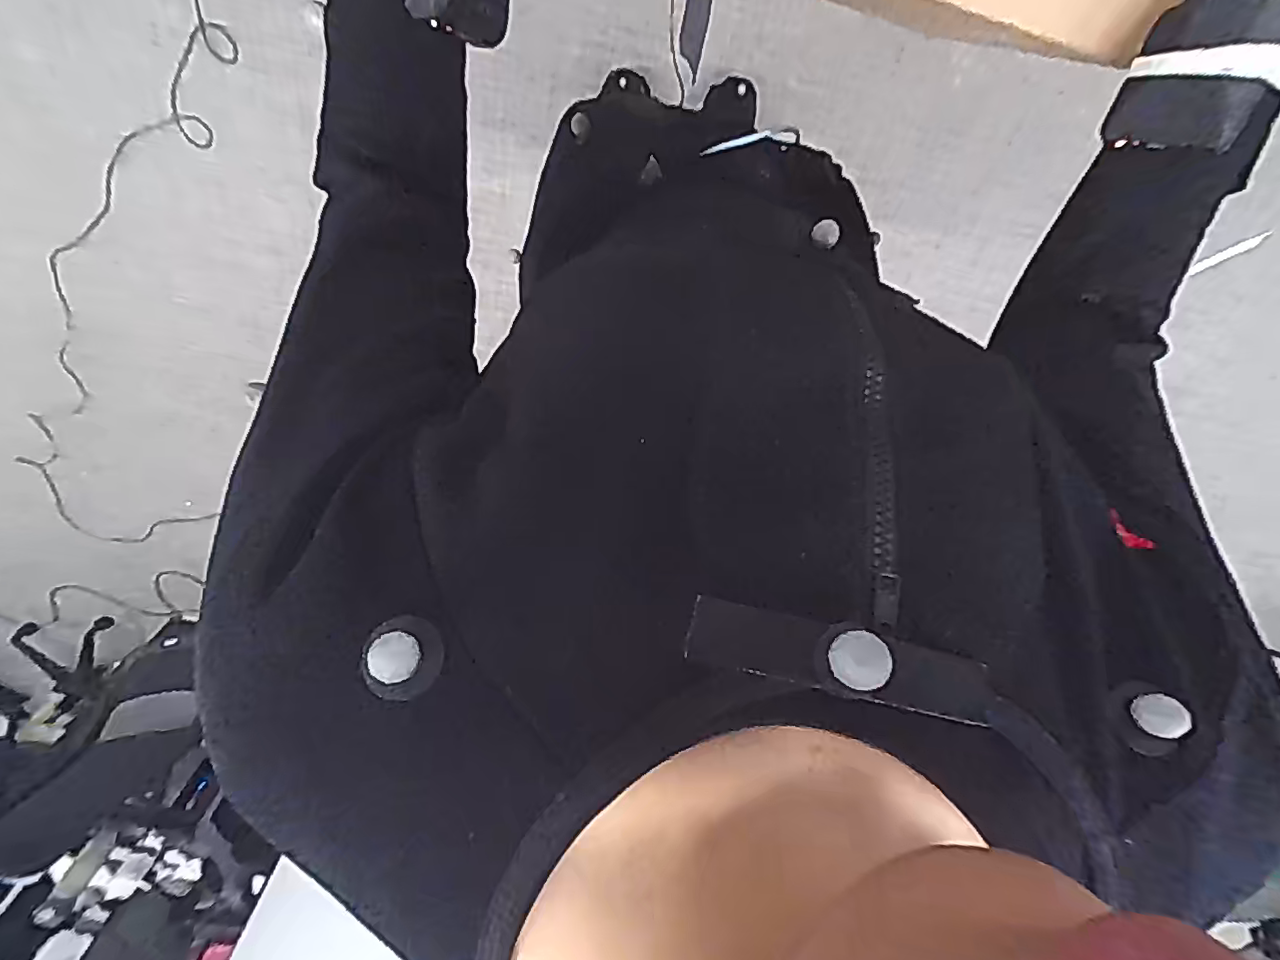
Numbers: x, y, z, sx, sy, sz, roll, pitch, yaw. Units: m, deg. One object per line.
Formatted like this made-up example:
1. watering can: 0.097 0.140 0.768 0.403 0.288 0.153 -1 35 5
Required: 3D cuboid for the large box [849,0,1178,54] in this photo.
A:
1. large box: 0.143 -0.498 0.307 0.408 0.320 0.320 11 133 -9
